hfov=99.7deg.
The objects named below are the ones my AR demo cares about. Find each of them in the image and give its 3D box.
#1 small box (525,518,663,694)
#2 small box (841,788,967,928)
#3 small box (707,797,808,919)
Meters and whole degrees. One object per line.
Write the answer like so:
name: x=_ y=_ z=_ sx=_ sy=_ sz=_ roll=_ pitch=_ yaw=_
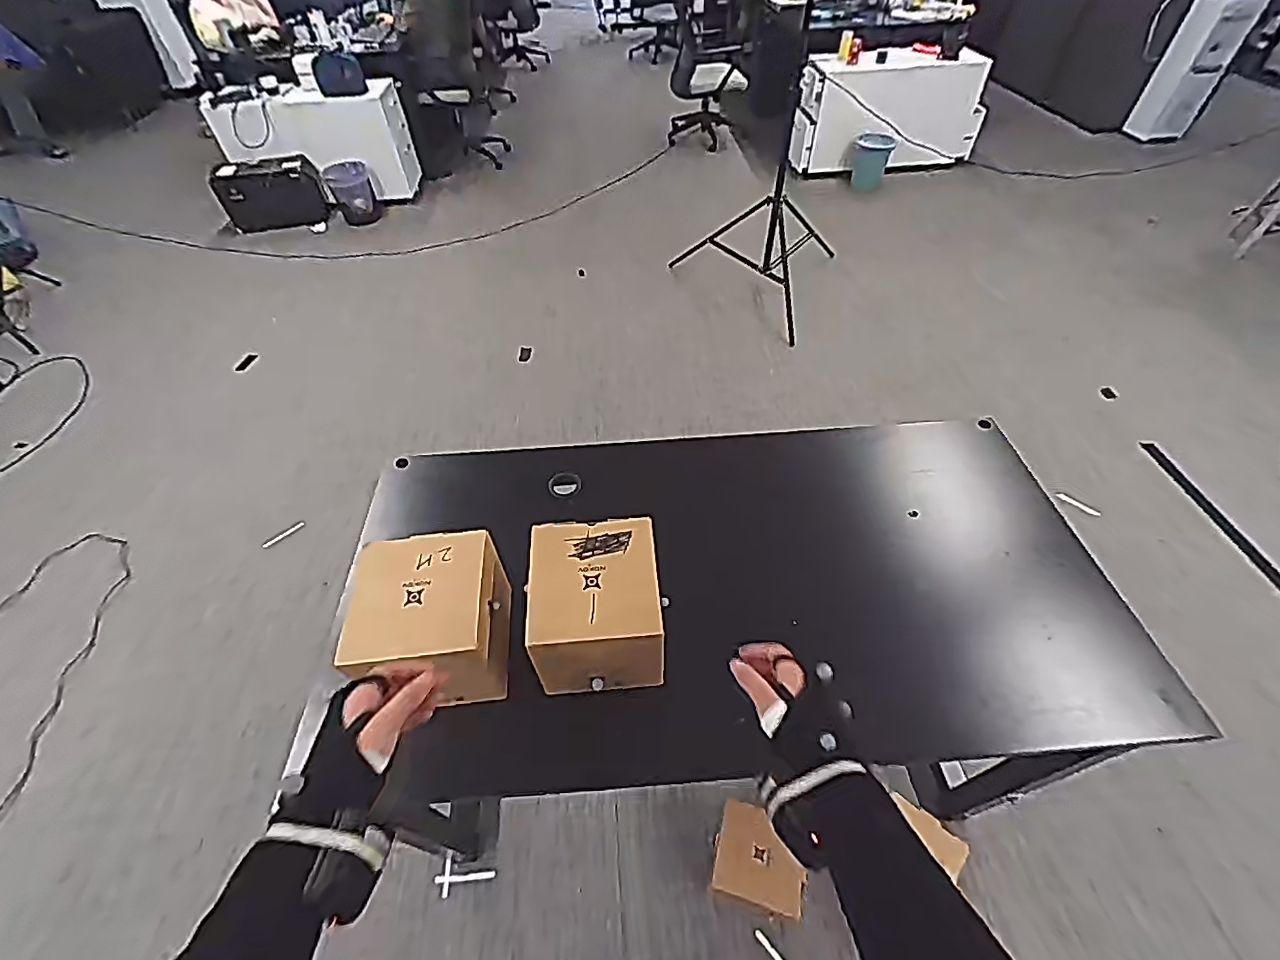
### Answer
small box: x=-0.058 y=0.176 z=0.751 sx=0.168 sy=0.176 sz=0.179 roll=-5 pitch=50 yaw=-1
small box: x=0.551 y=0.802 z=1.149 sx=0.168 sy=0.176 sz=0.179 roll=31 pitch=57 yaw=26
small box: x=0.248 y=0.810 z=1.158 sx=0.179 sy=0.176 sz=0.168 roll=11 pitch=50 yaw=13
